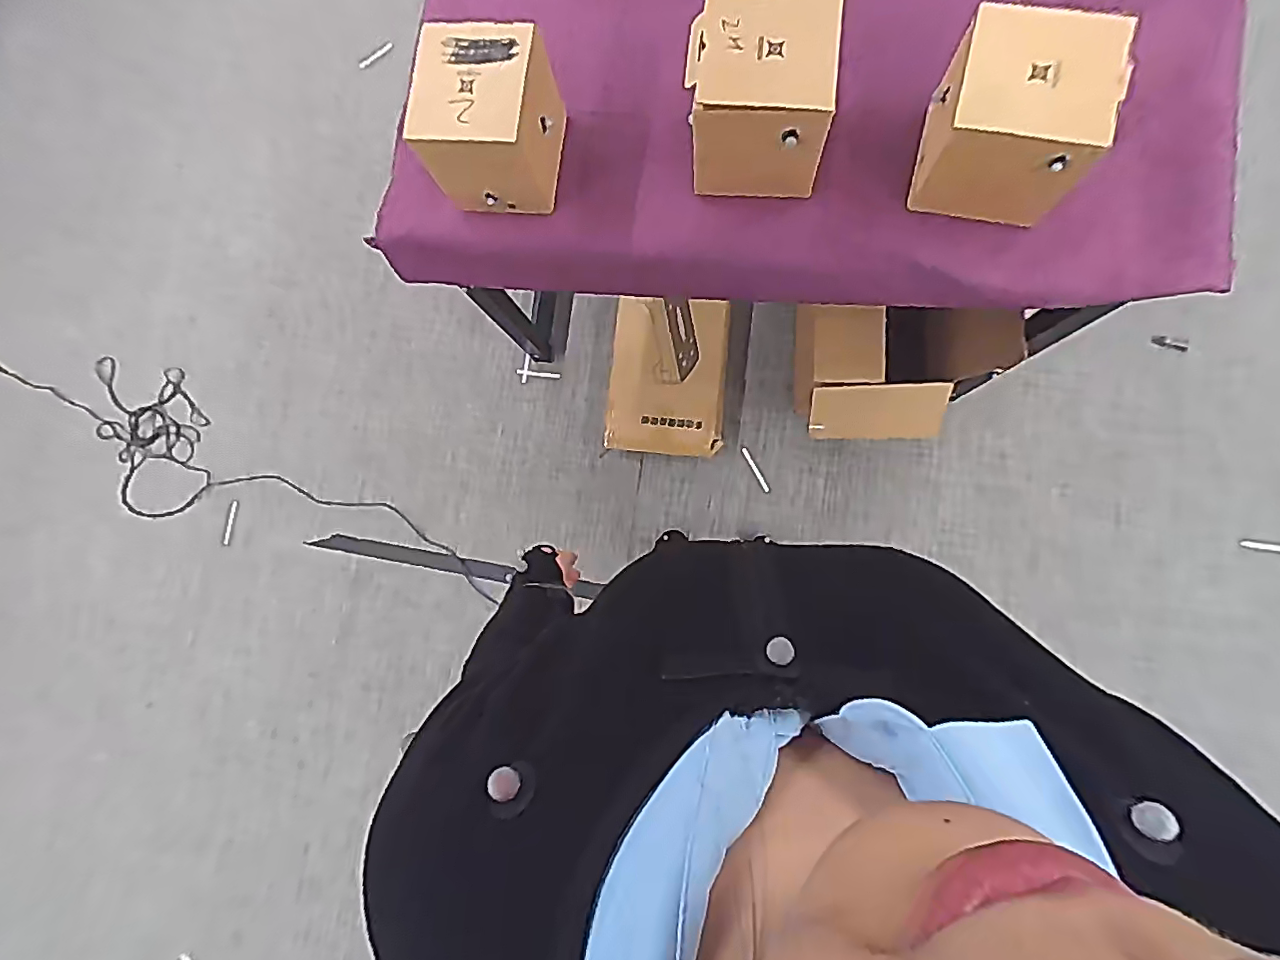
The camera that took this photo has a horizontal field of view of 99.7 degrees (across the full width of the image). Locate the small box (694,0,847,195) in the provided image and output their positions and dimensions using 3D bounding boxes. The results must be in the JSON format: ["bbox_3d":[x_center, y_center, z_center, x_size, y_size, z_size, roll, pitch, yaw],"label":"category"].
[{"bbox_3d":[0.171,-0.523,0.752,0.179,0.176,0.168,6,83,8],"label":"small box"}]

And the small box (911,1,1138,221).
[{"bbox_3d":[0.482,-0.467,0.707,0.179,0.176,0.168,13,86,8],"label":"small box"}]
